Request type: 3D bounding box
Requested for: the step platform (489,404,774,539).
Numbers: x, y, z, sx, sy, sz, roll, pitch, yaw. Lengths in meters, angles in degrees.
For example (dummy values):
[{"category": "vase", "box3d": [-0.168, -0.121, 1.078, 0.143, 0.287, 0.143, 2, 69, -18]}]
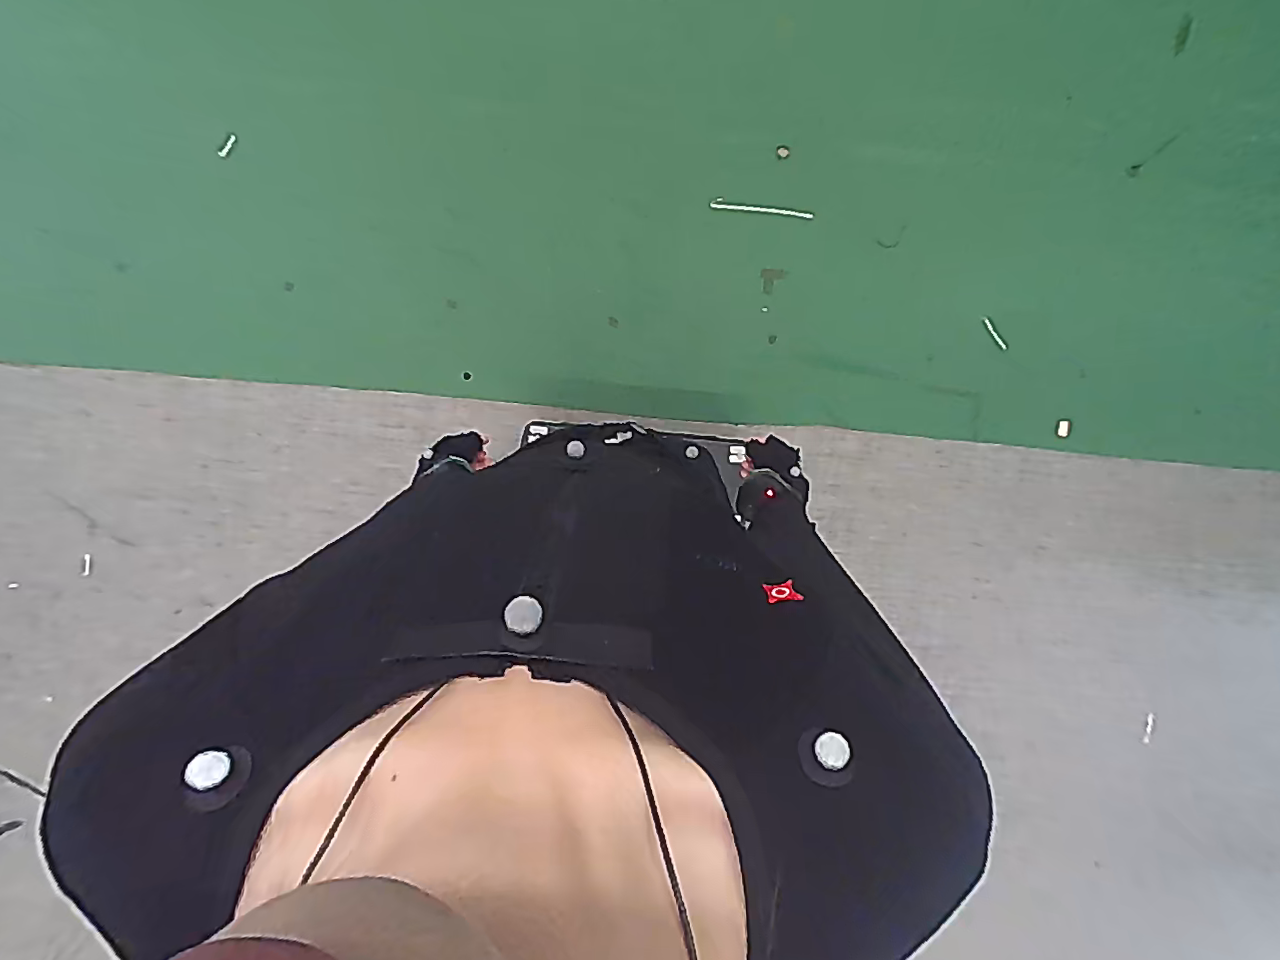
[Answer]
[{"category": "step platform", "box3d": [-0.021, -0.024, 1.384, 0.684, 0.204, 0.286, 4, 94, -1]}]
